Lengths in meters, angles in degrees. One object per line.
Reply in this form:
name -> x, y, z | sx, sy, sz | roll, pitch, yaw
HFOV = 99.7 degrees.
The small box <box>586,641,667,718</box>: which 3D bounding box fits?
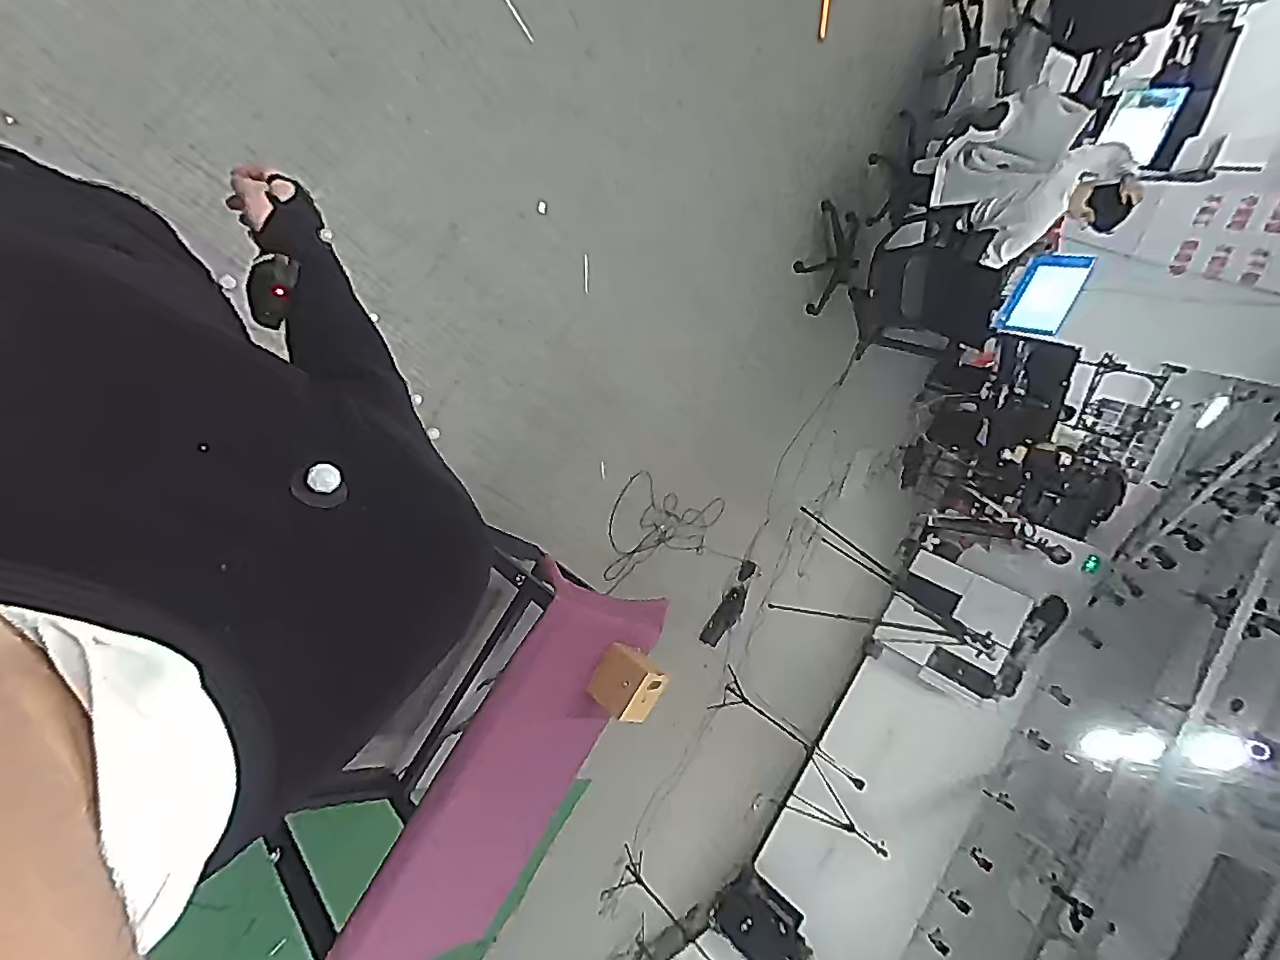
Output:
small box -> -0.048, 0.655, 1.781 | 0.179, 0.176, 0.168 | -57, 144, -5
